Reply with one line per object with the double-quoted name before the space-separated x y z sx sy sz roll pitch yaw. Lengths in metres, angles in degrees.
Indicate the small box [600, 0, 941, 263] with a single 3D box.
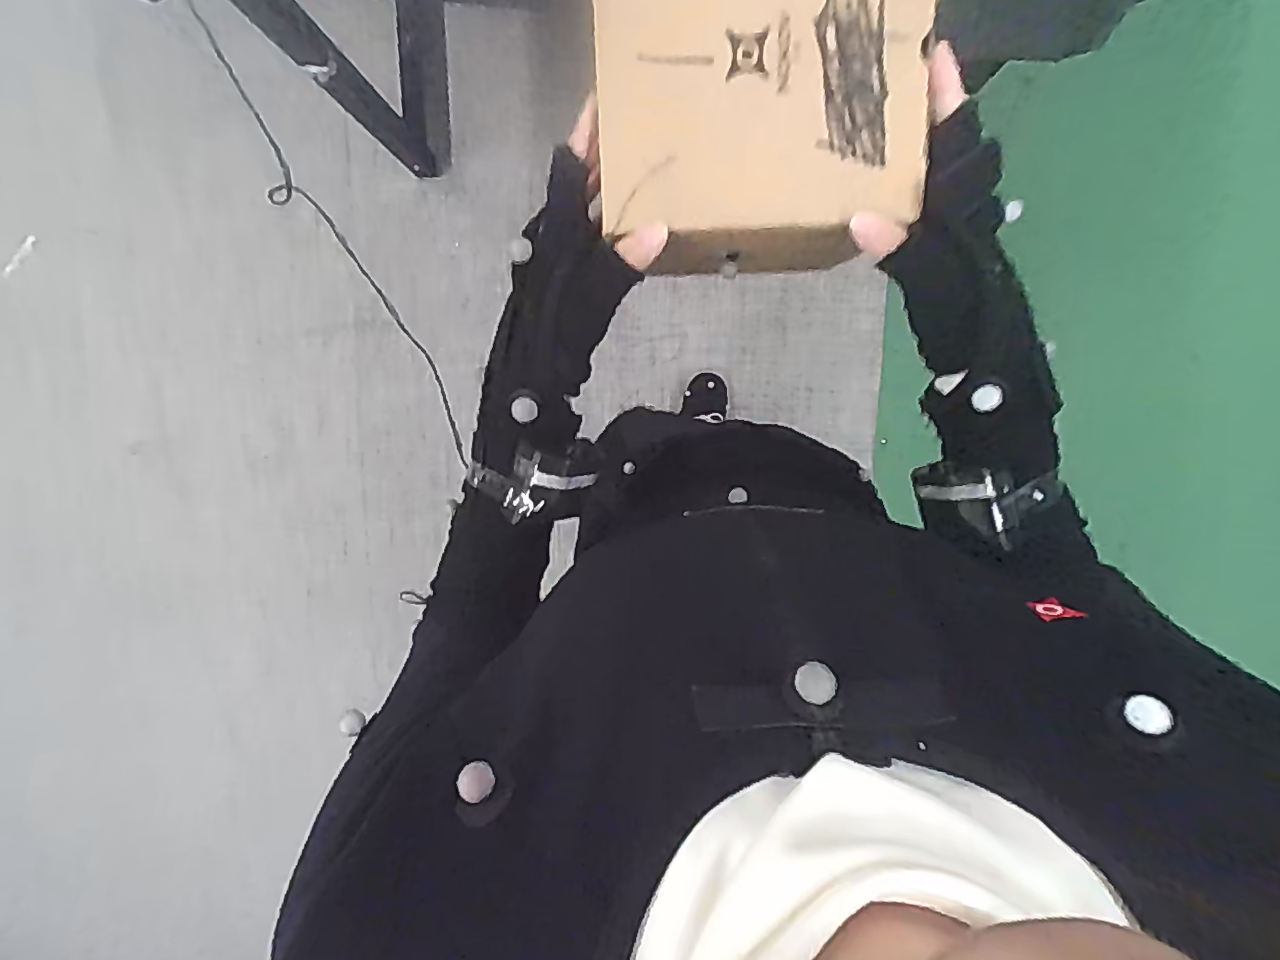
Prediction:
"small box" 0.068 -0.247 0.355 0.179 0.176 0.168 -5 103 2
